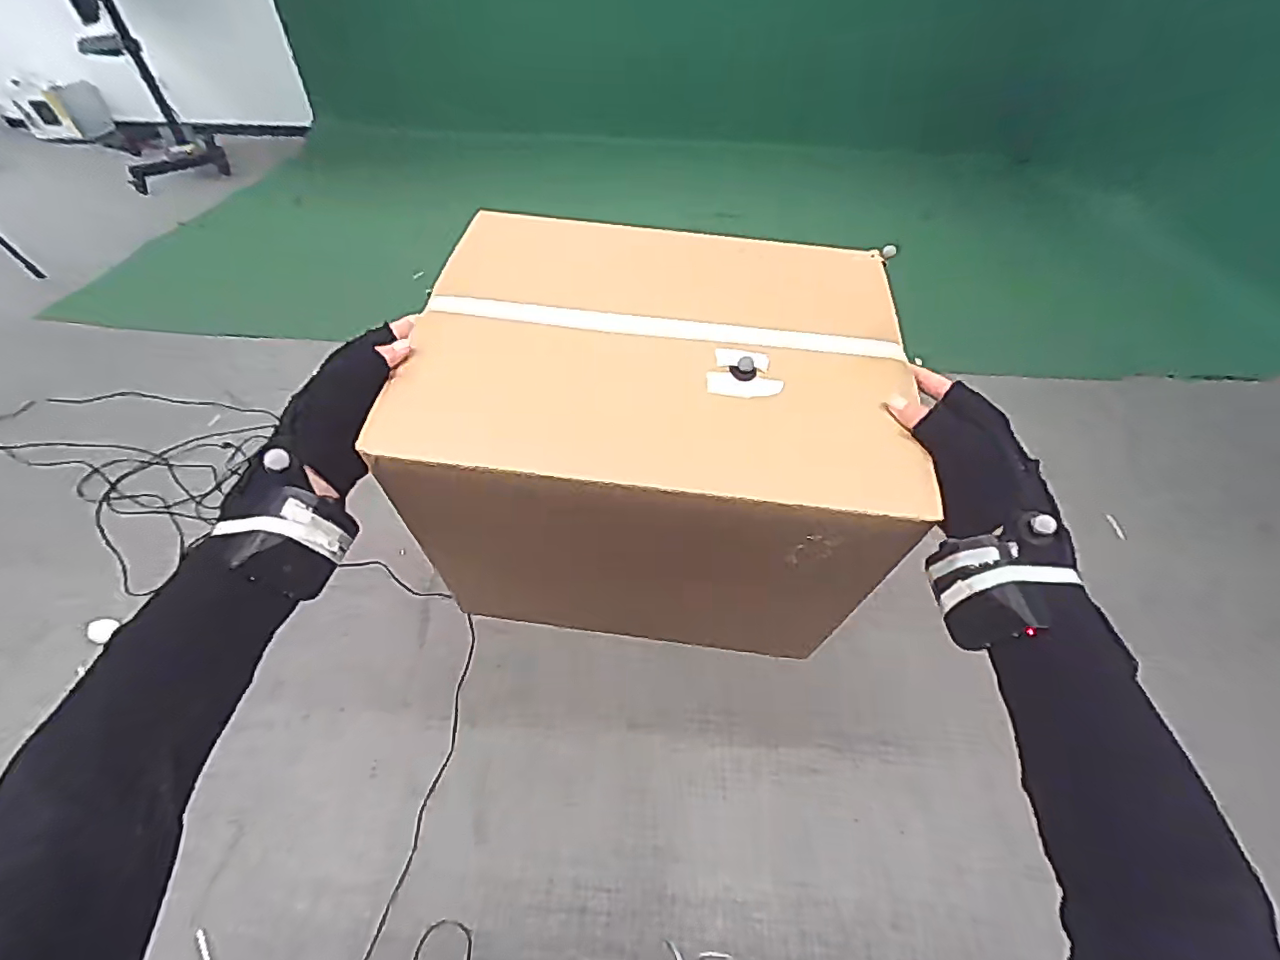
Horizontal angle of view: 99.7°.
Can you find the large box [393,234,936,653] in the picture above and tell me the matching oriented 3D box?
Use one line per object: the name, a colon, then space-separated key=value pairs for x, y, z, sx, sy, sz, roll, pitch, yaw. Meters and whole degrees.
large box: x=0.021 y=-0.027 z=0.593 sx=0.408 sy=0.320 sz=0.320 roll=7 pitch=55 yaw=1
